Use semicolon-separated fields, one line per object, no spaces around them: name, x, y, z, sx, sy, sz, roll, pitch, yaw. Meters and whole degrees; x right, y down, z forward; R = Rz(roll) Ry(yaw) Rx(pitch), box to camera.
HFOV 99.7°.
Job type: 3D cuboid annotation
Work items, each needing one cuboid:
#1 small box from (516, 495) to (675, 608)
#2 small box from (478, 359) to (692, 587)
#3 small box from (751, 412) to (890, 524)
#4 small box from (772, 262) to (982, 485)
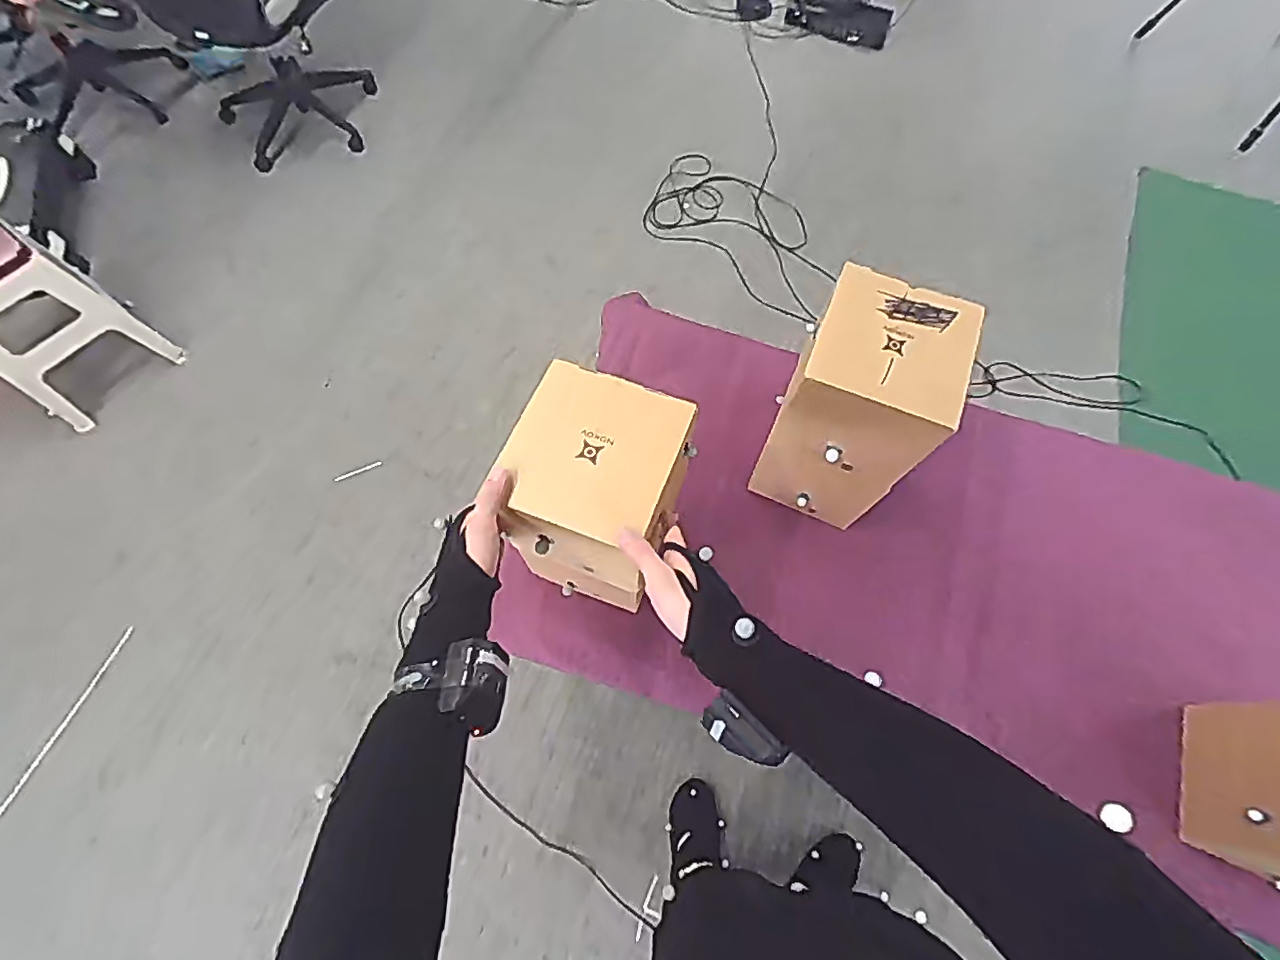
small box;-0.053;0.059;0.760;0.168;0.176;0.179;19;68;8
small box;-0.050;0.001;0.609;0.168;0.176;0.179;19;66;8
small box;0.282;-0.060;0.815;0.168;0.176;0.179;24;69;9
small box;0.276;-0.121;0.662;0.168;0.176;0.179;22;69;9
